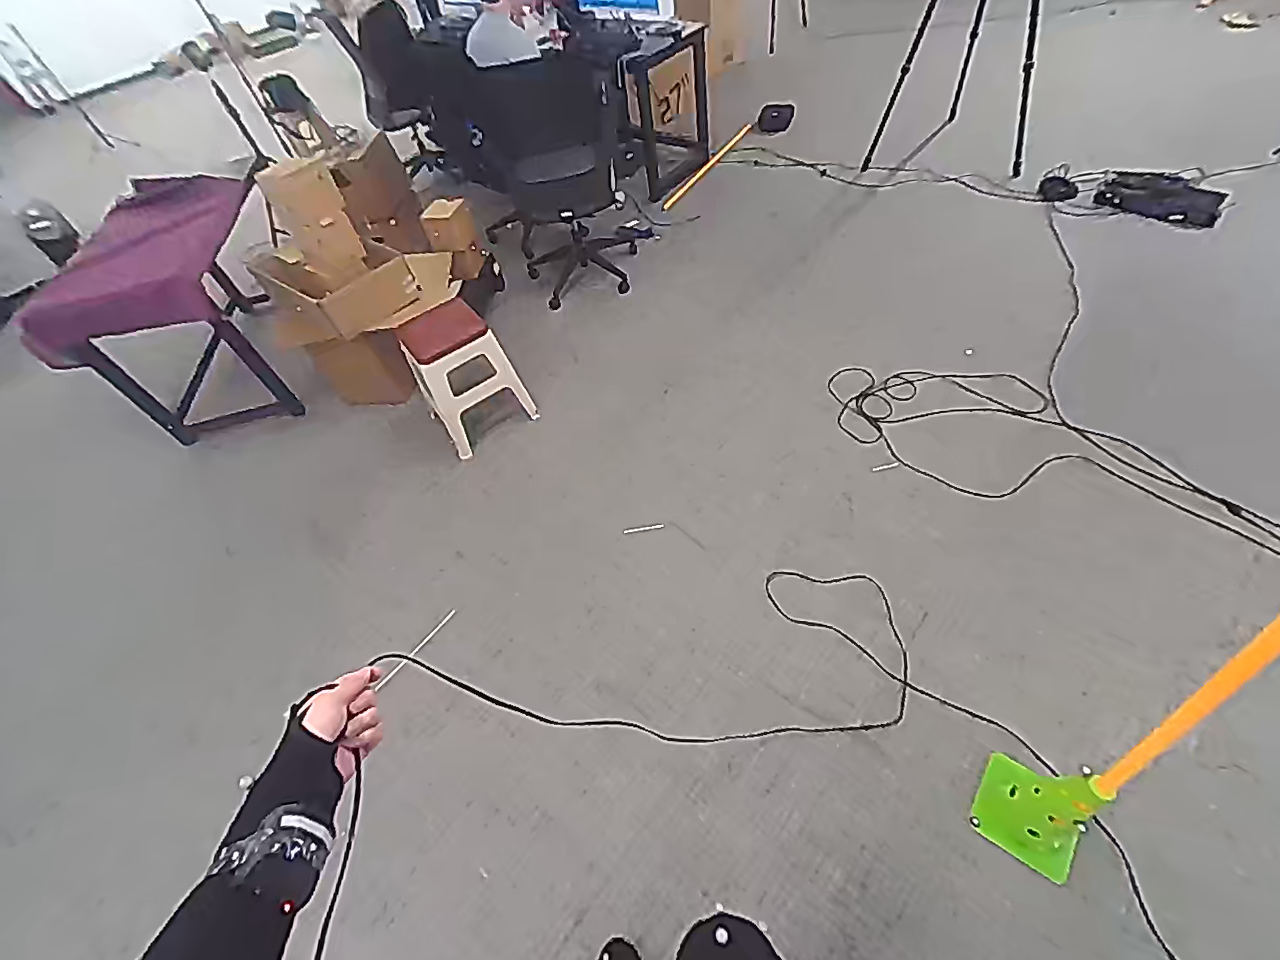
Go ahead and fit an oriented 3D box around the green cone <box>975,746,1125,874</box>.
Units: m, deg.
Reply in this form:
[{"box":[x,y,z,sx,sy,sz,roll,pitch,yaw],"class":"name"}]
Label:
[{"box":[0.883,0.650,1.116,0.200,0.368,0.202,27,61,27],"class":"green cone"}]
